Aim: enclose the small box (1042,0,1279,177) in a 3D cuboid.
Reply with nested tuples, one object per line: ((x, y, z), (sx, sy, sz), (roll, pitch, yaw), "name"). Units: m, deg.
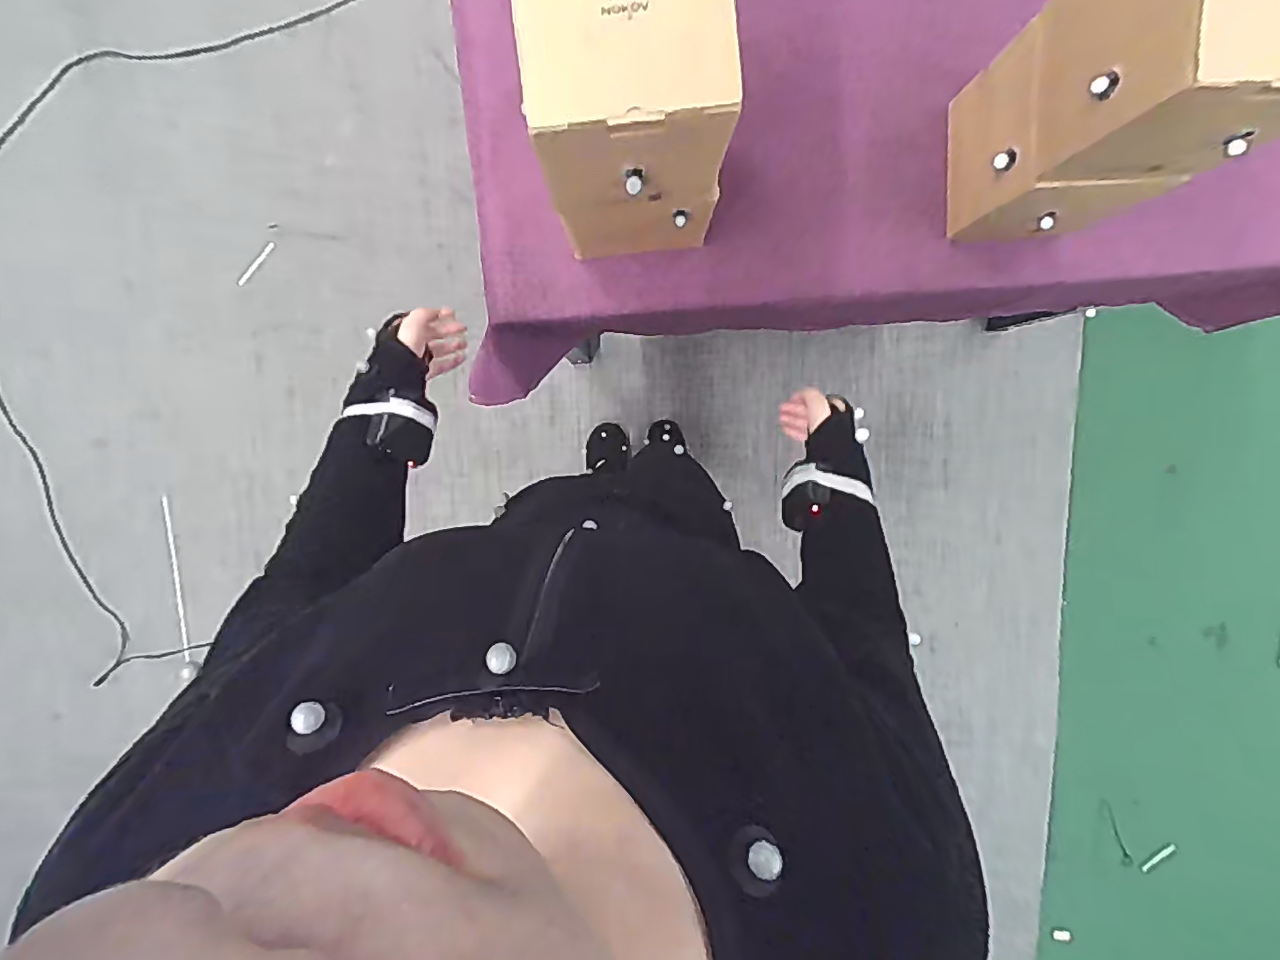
((0.493, -0.388, 0.472), (0.168, 0.176, 0.179), (0, 96, 0), "small box")

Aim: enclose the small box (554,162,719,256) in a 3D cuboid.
((-0.008, -0.380, 0.643), (0.179, 0.176, 0.168), (-5, 96, 0), "small box")

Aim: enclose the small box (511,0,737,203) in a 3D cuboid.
((-0.013, -0.365, 0.479), (0.168, 0.176, 0.179), (-6, 96, 0), "small box")

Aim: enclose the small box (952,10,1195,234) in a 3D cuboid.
((0.494, -0.401, 0.635), (0.168, 0.176, 0.179), (-2, 96, 0), "small box")
